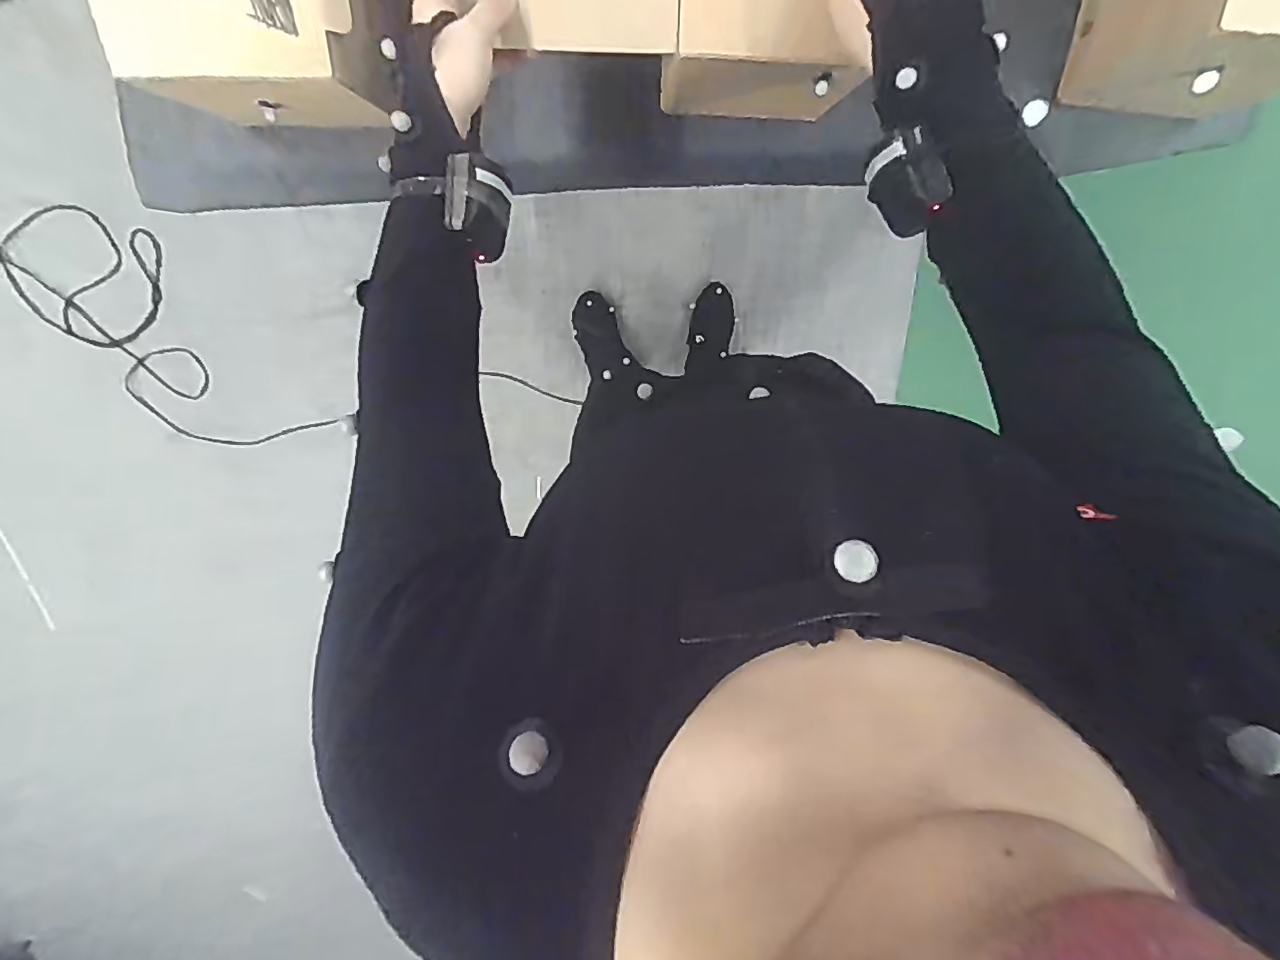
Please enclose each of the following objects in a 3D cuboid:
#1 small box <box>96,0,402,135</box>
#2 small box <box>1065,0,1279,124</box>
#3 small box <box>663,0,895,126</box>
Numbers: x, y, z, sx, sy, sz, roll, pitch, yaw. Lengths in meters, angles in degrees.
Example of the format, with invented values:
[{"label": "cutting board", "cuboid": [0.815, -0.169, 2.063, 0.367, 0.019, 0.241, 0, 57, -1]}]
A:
[{"label": "small box", "cuboid": [-0.329, -0.418, 0.476, 0.179, 0.176, 0.168, -1, 112, -1]}, {"label": "small box", "cuboid": [0.547, -0.449, 0.492, 0.179, 0.176, 0.168, 4, 107, -3]}, {"label": "small box", "cuboid": [0.113, -0.437, 0.488, 0.179, 0.176, 0.168, 0, 110, -3]}]
